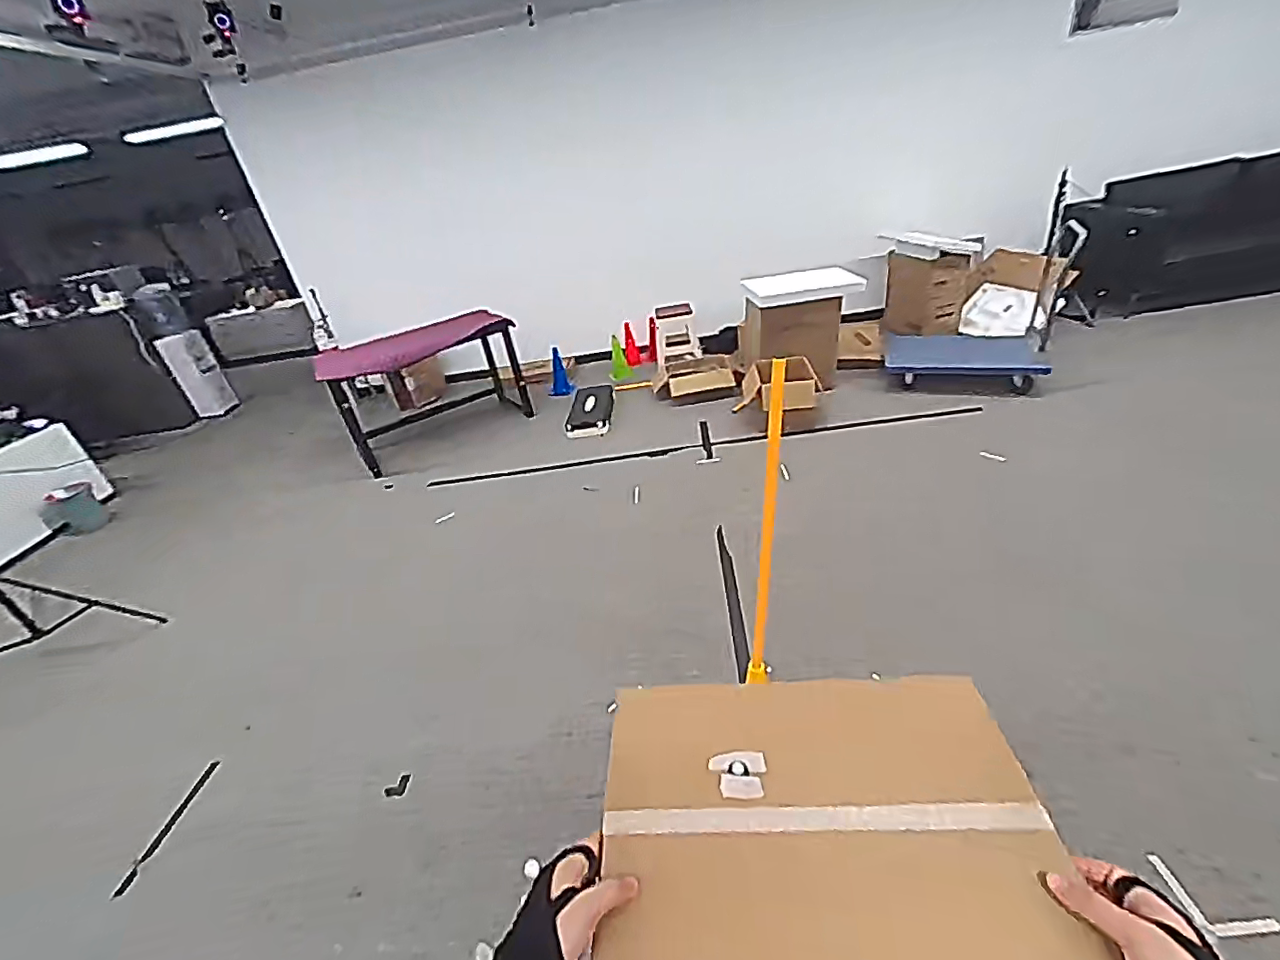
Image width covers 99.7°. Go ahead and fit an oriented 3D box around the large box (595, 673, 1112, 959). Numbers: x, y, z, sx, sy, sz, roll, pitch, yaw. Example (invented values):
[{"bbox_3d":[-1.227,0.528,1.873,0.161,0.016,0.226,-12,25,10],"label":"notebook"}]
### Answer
[{"bbox_3d":[0.187,0.449,0.590,0.408,0.320,0.320,-6,31,7],"label":"large box"}]
